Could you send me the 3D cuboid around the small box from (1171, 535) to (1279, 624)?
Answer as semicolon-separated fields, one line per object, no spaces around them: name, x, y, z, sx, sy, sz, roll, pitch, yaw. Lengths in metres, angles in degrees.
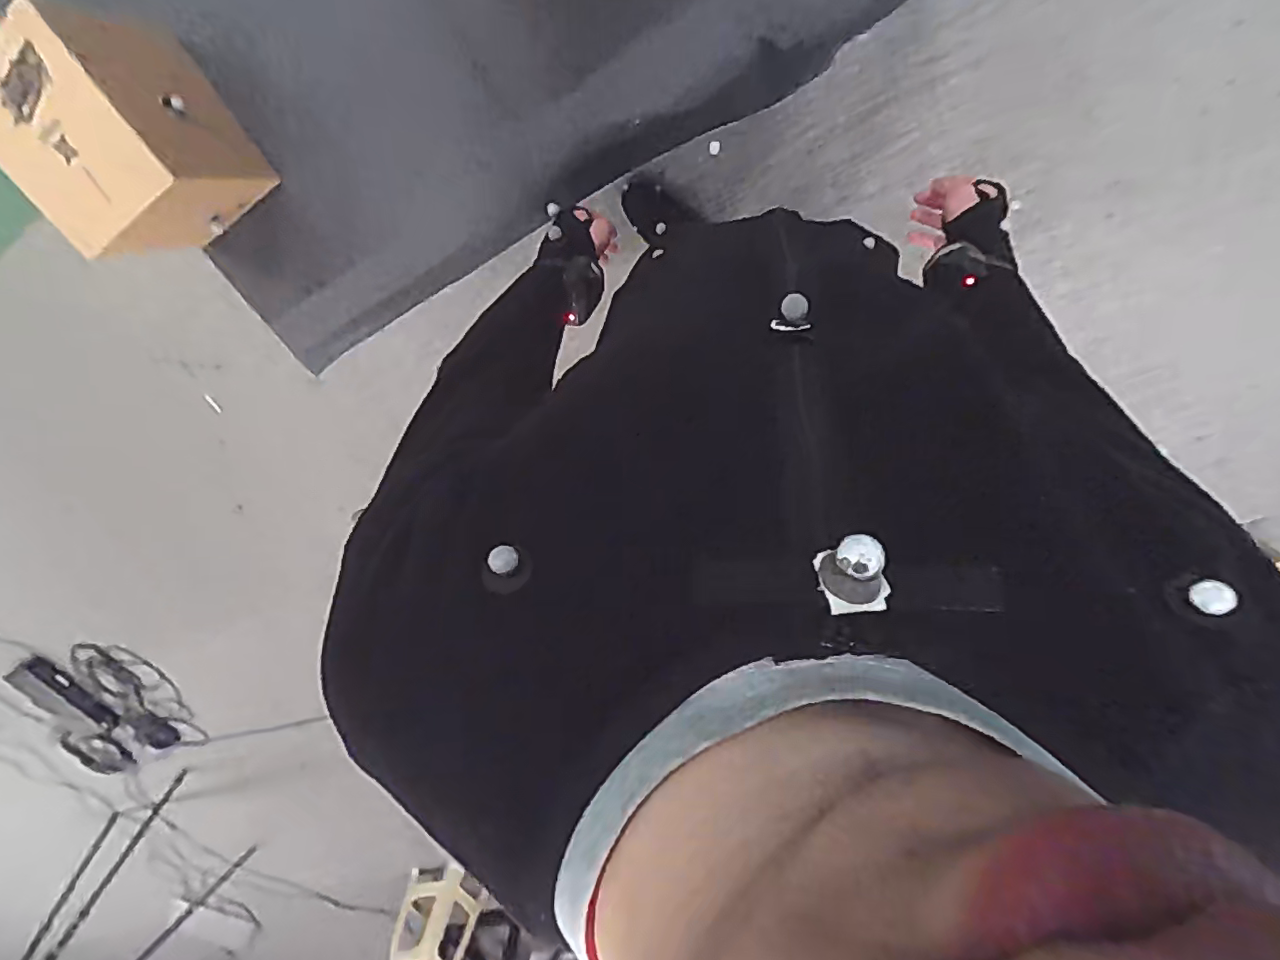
small box;1.712;0.282;1.581;0.168;0.176;0.179;-24;114;18

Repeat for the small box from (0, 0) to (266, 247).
small box;-0.581;-0.387;0.600;0.168;0.176;0.179;-24;114;18
